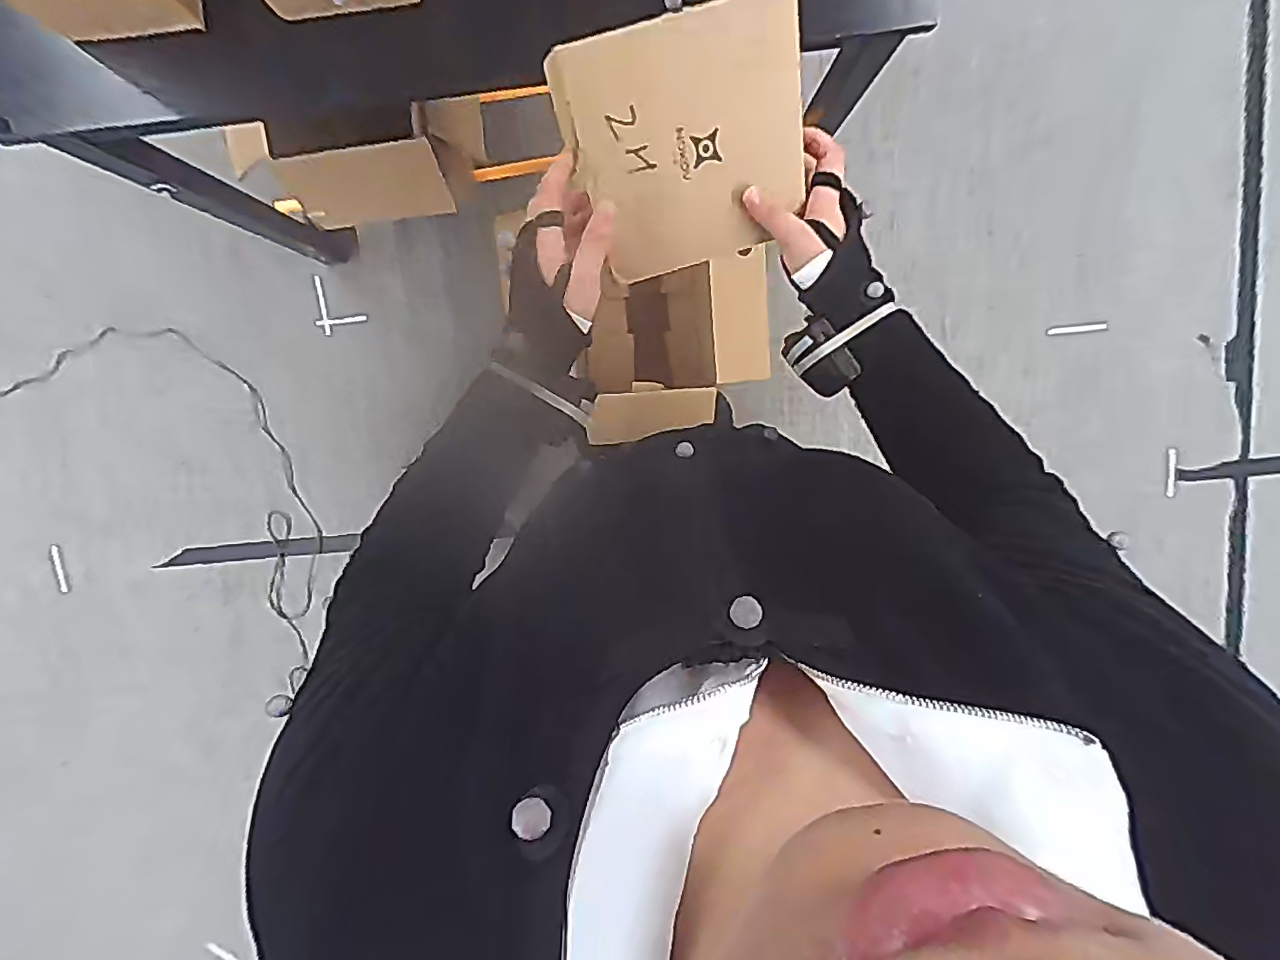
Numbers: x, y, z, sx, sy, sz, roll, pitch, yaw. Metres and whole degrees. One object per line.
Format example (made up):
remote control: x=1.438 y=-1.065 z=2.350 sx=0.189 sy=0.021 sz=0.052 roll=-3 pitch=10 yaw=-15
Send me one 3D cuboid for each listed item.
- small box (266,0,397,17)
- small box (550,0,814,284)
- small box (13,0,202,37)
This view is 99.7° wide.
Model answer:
small box: x=-0.366 y=-0.645 z=0.574 sx=0.179 sy=0.176 sz=0.168 roll=-8 pitch=98 yaw=0
small box: x=0.031 y=-0.296 z=0.467 sx=0.179 sy=0.176 sz=0.168 roll=-17 pitch=126 yaw=1
small box: x=-0.627 y=-0.615 z=0.576 sx=0.179 sy=0.176 sz=0.168 roll=-5 pitch=99 yaw=-1
